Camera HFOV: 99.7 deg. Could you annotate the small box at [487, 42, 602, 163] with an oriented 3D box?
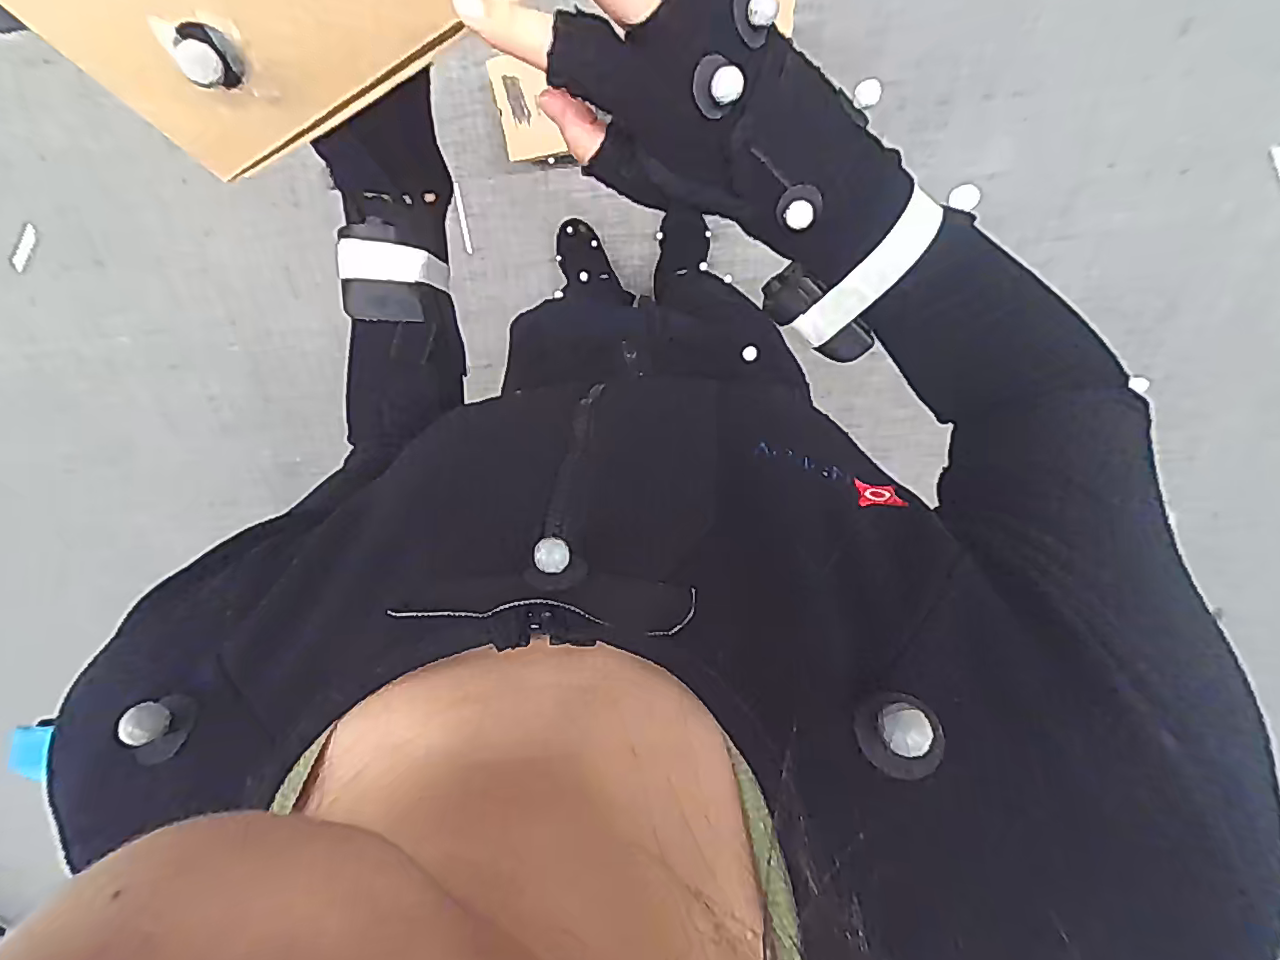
[{"bbox_3d":[-0.181,-0.746,1.086,0.179,0.176,0.168,-8,120,5],"label":"small box"}]
